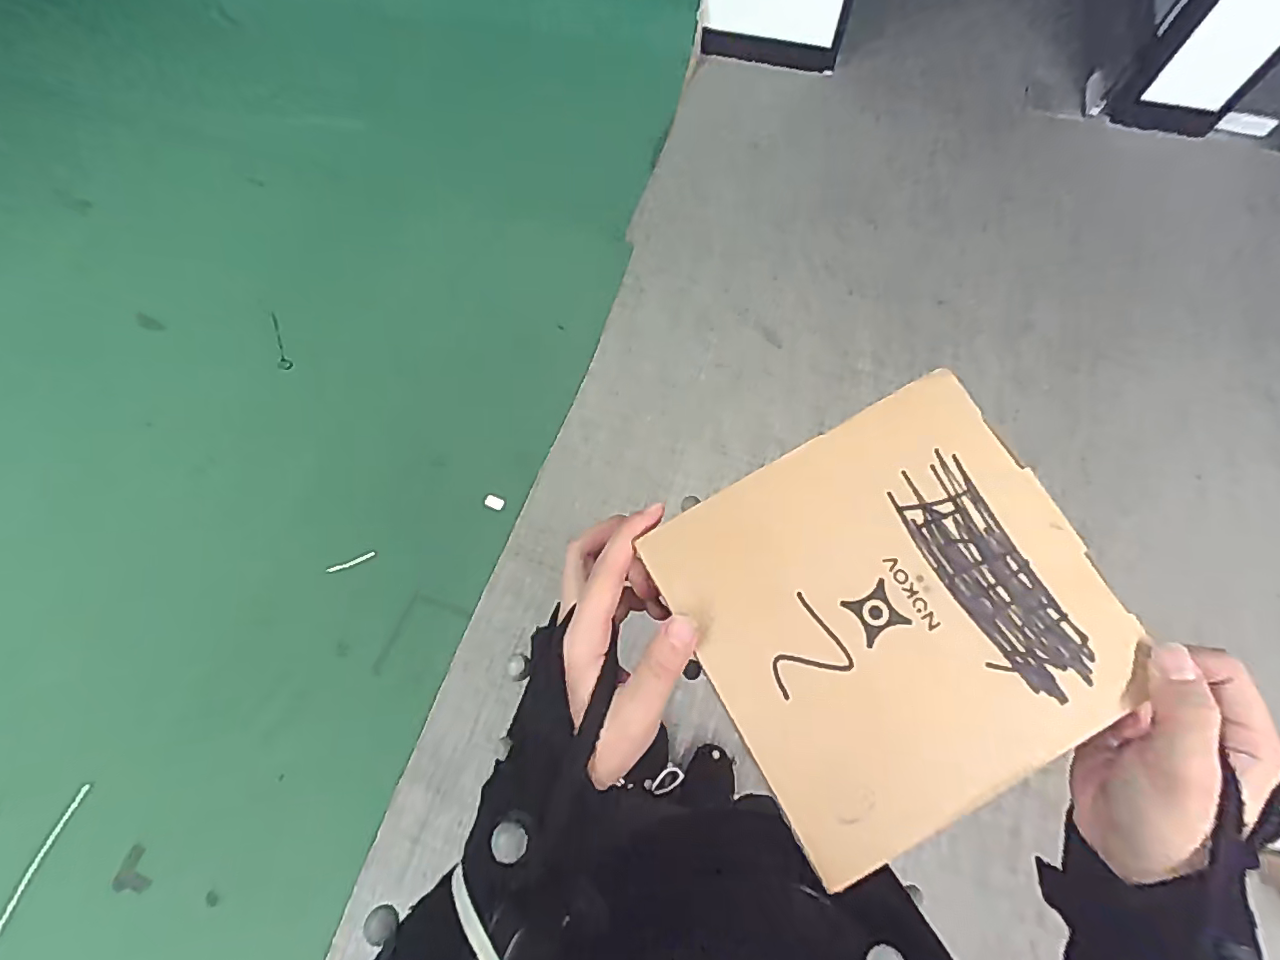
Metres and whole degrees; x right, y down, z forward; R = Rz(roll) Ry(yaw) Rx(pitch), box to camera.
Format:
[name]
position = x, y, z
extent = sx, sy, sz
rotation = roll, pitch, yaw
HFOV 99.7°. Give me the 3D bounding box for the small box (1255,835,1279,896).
[small box]
position = 1.302, 0.737, 0.969
extent = 0.179, 0.176, 0.168
rotation = -24, 69, -6
